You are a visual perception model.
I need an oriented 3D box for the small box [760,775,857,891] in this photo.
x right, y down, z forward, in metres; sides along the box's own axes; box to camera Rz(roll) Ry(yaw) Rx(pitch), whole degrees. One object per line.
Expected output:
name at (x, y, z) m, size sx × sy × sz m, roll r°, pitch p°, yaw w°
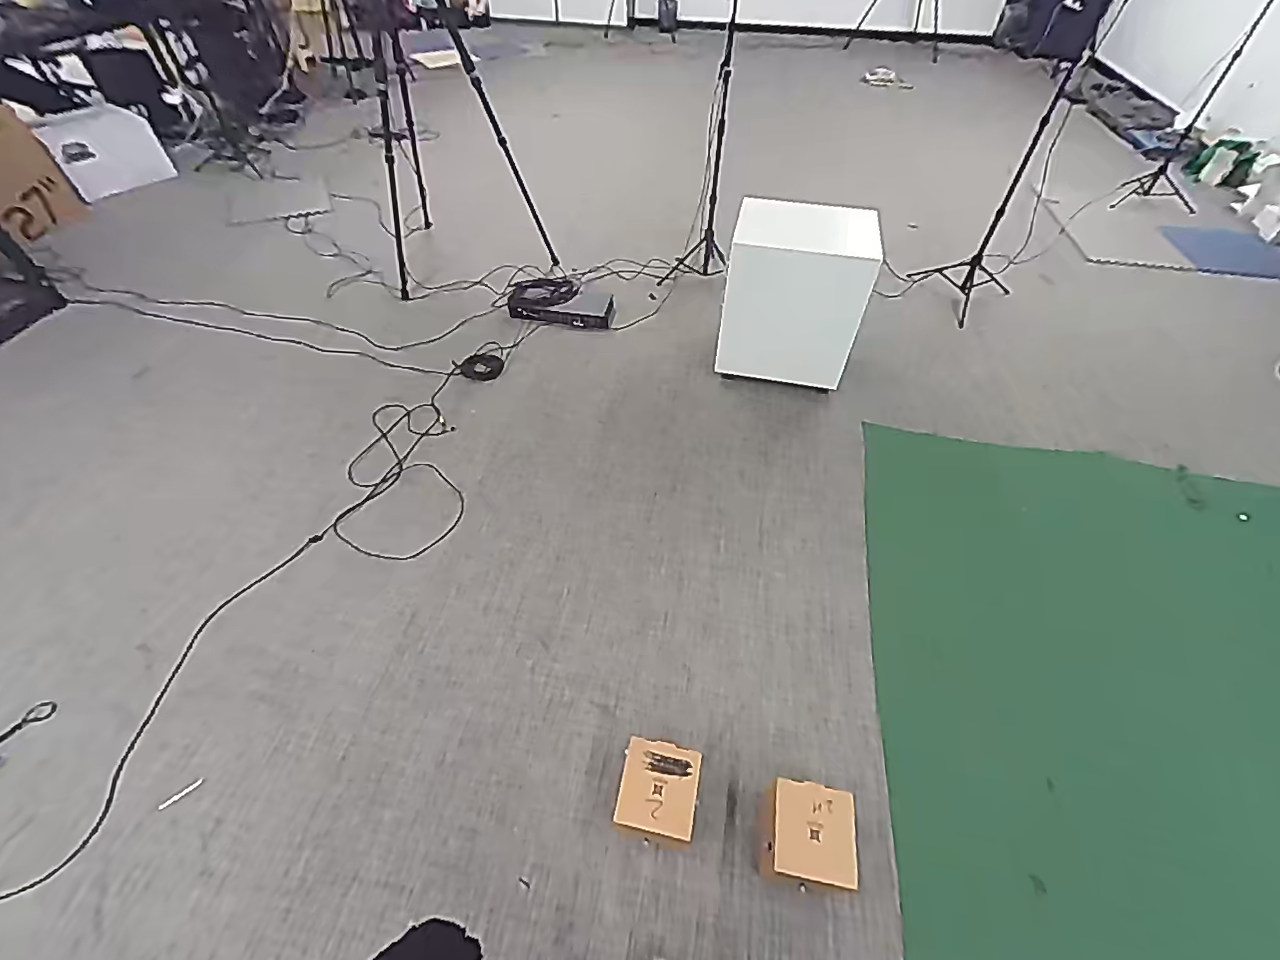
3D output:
small box at (0.360, 0.772, 1.177) m, size 0.168 × 0.176 × 0.179 m, roll 9°, pitch 50°, yaw 6°
